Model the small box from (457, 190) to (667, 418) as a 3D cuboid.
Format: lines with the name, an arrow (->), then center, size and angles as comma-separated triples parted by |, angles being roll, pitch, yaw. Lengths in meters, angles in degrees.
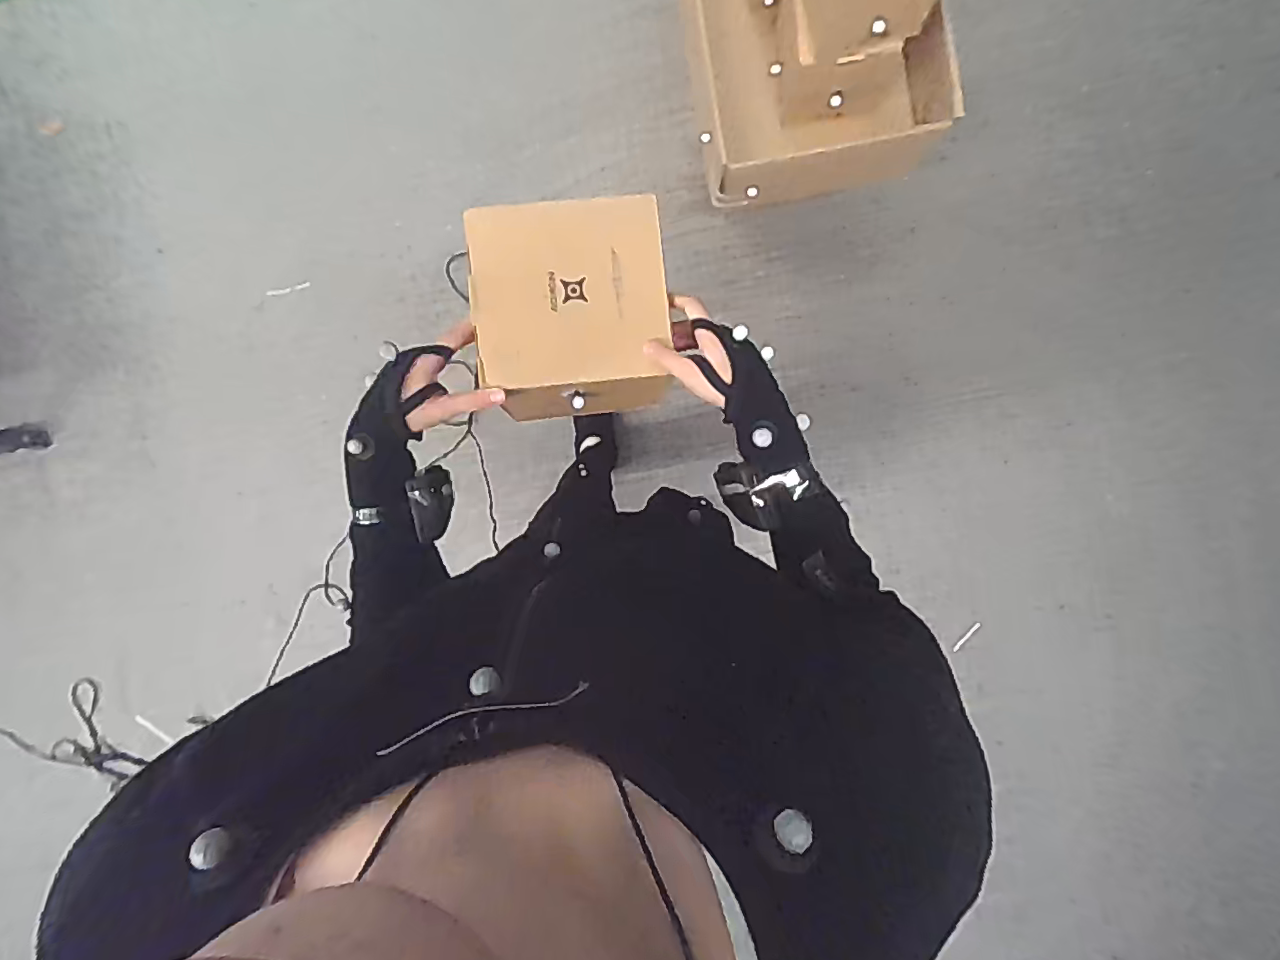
small box -> -0.069, -0.163, 0.553 | 0.179, 0.176, 0.168 | -6, 87, -1
